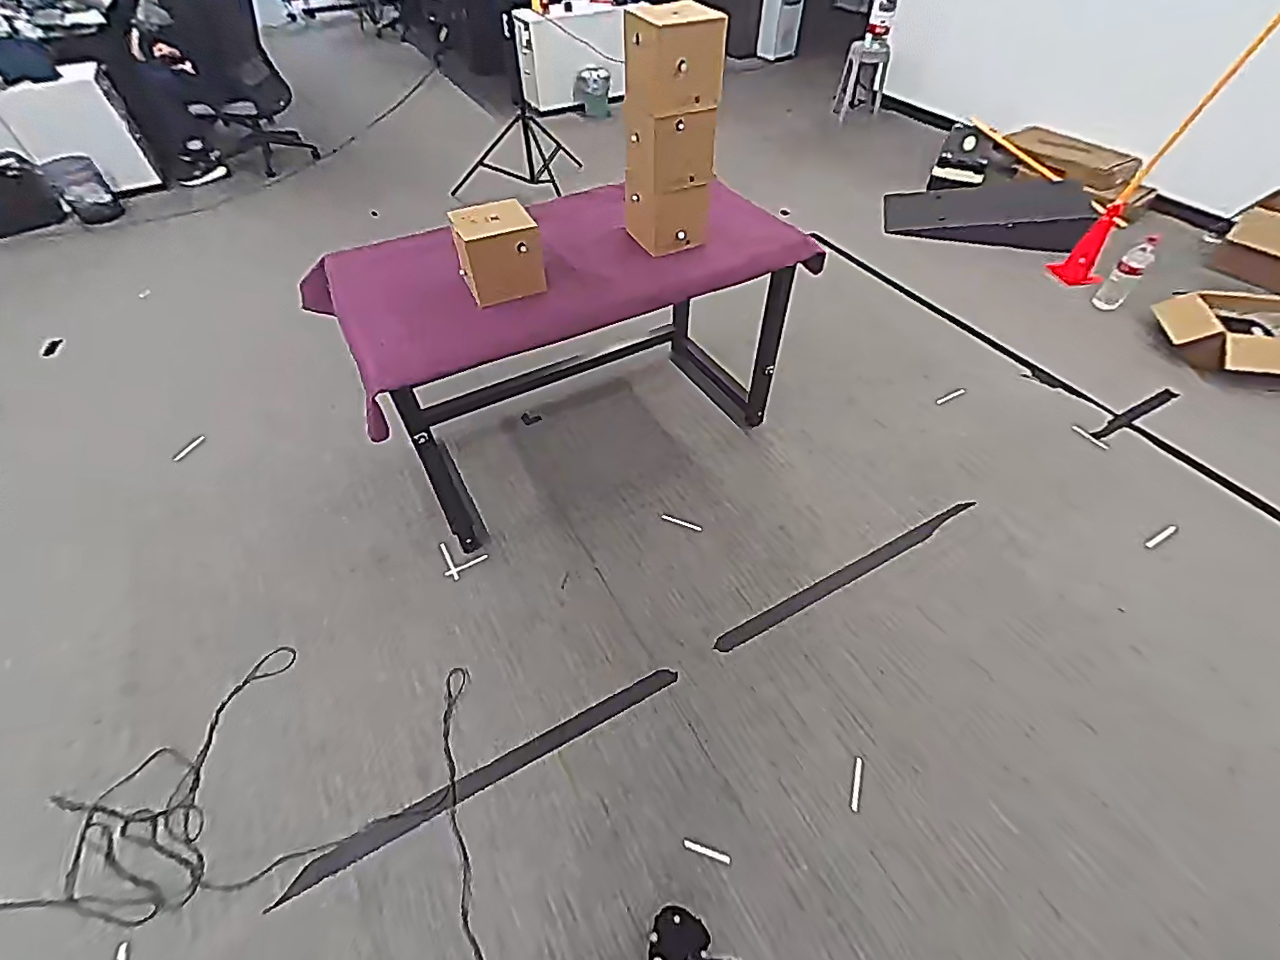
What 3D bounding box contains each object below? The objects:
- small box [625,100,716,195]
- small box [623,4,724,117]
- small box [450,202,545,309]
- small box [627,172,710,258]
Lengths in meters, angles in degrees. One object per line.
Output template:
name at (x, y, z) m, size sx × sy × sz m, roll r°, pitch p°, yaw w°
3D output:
small box at (0.072, -0.835, 1.344) m, size 0.168 × 0.176 × 0.179 m, roll -20°, pitch 52°, yaw -14°
small box at (0.073, -0.935, 1.214) m, size 0.168 × 0.176 × 0.179 m, roll -20°, pitch 52°, yaw -14°
small box at (-0.343, -0.548, 1.326) m, size 0.179 × 0.176 × 0.168 m, roll -21°, pitch 52°, yaw -15°
small box at (0.072, -0.733, 1.473) m, size 0.168 × 0.176 × 0.179 m, roll -22°, pitch 54°, yaw -16°
